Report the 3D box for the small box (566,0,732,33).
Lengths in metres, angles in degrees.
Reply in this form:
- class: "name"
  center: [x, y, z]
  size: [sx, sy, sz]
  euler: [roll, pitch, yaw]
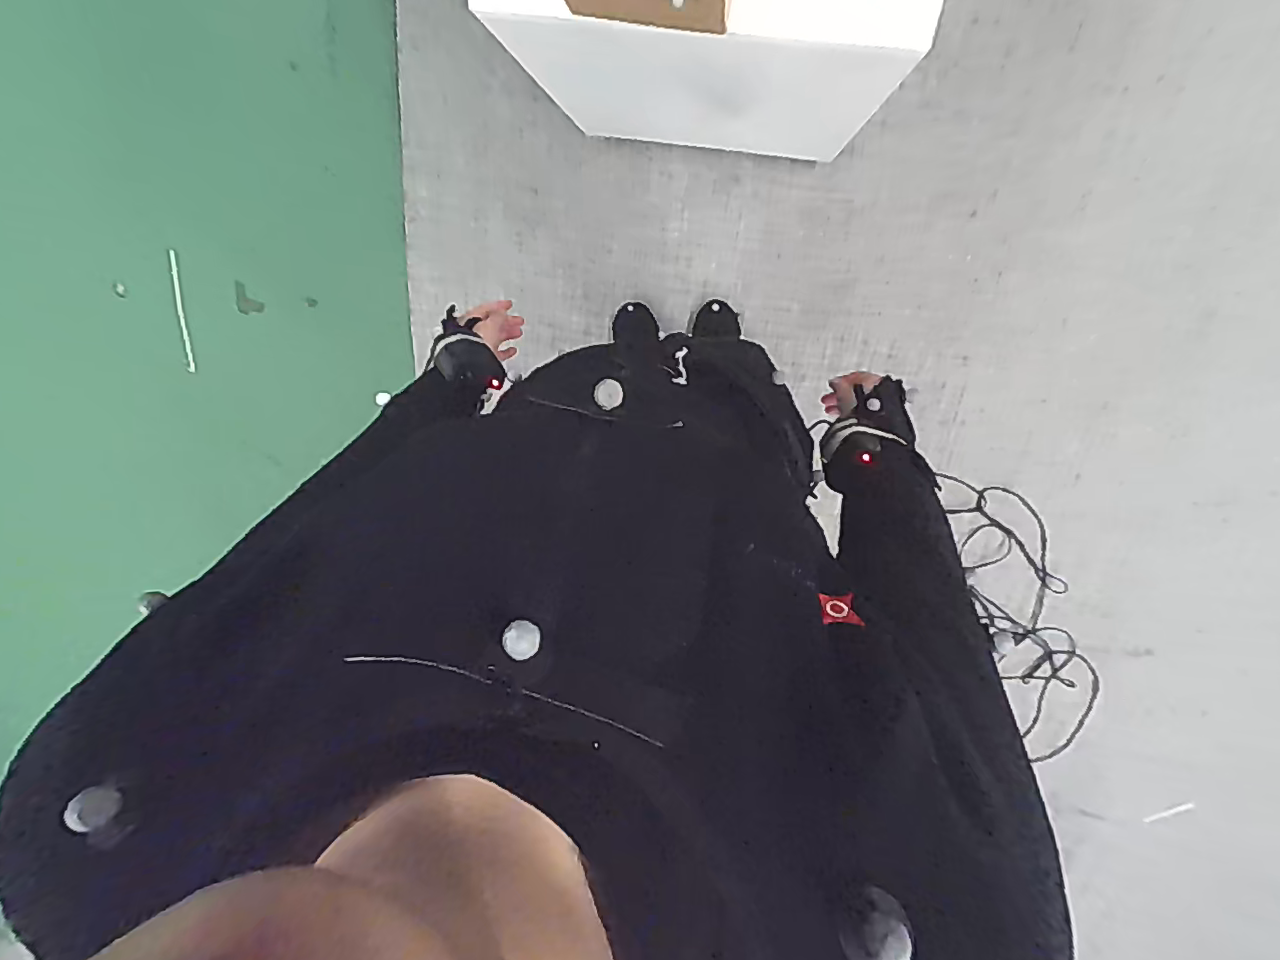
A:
- class: "small box"
  center: [0.011, -0.540, 0.485]
  size: [0.179, 0.176, 0.168]
  euler: [11, 109, 6]
